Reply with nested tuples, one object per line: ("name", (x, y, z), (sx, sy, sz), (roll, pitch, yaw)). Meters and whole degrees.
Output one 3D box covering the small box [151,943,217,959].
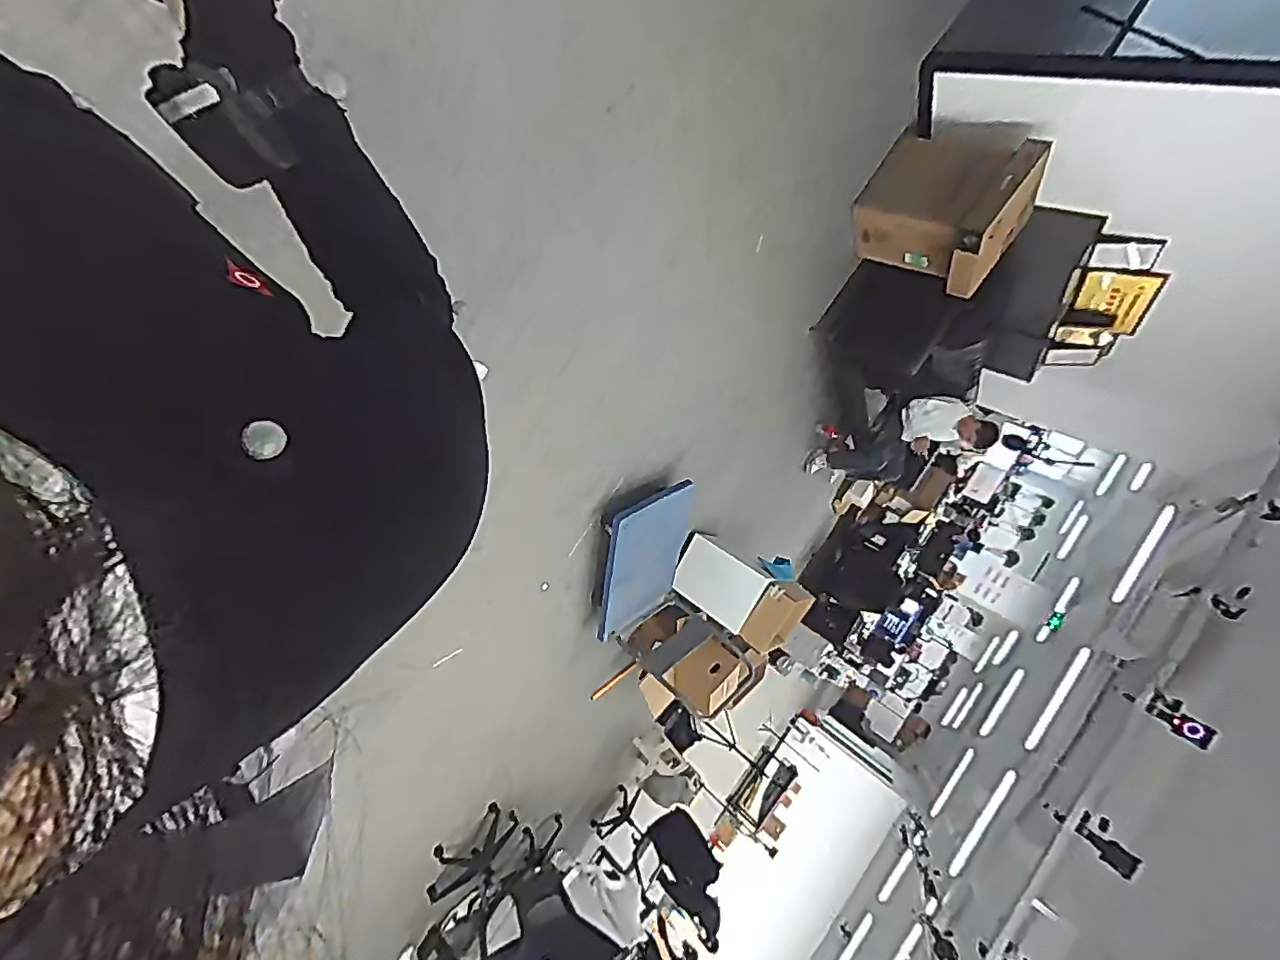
("small box", (-0.886, 0.996, 0.969), (0.168, 0.176, 0.179), (-53, 149, -7))
